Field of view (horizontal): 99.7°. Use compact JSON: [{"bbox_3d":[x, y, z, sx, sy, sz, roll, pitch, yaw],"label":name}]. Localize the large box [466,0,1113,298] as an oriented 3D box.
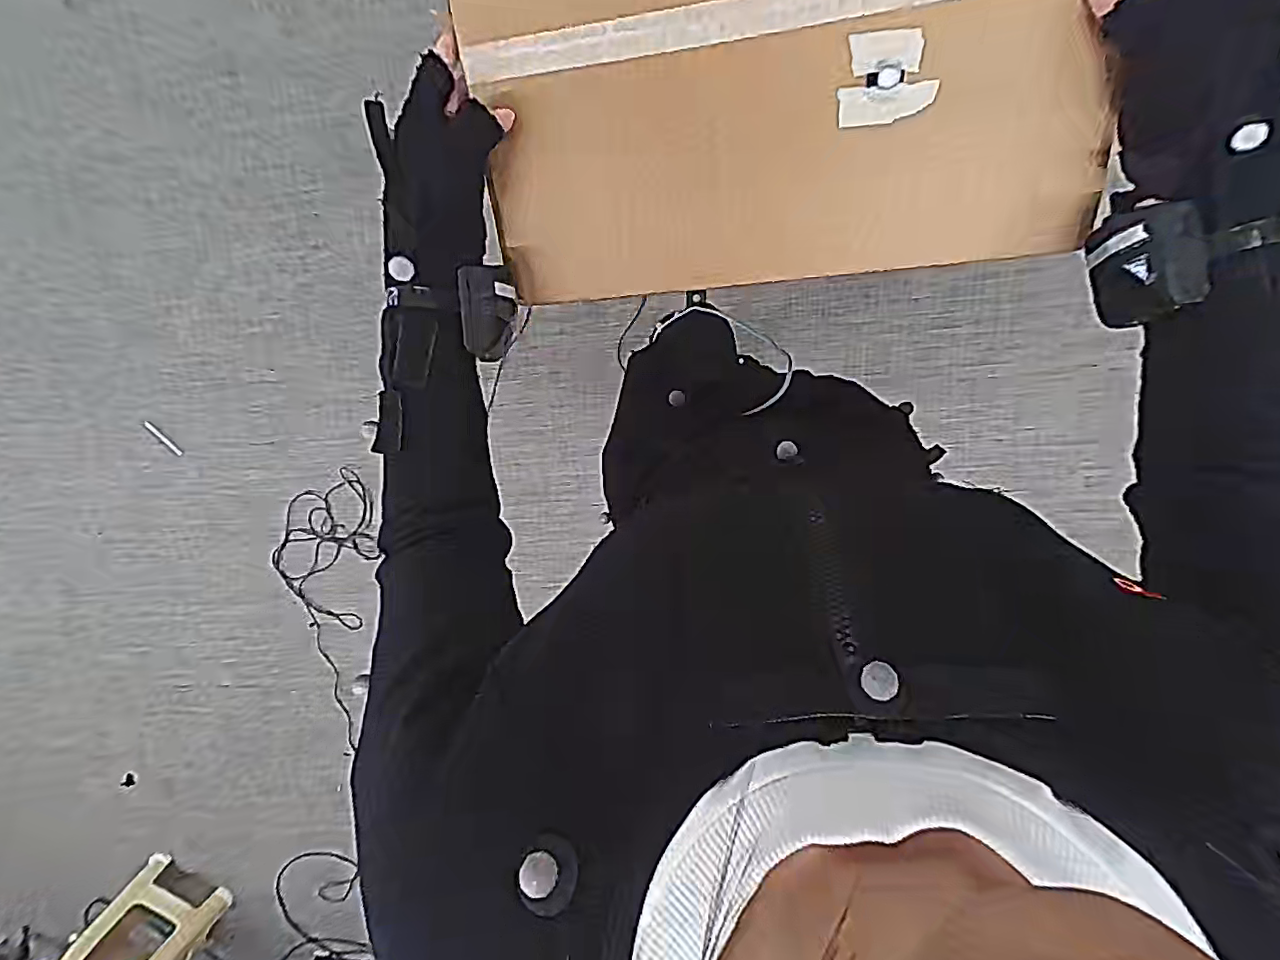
[{"bbox_3d":[0.100,-0.358,0.477,0.408,0.320,0.320,-3,115,9],"label":"large box"}]
